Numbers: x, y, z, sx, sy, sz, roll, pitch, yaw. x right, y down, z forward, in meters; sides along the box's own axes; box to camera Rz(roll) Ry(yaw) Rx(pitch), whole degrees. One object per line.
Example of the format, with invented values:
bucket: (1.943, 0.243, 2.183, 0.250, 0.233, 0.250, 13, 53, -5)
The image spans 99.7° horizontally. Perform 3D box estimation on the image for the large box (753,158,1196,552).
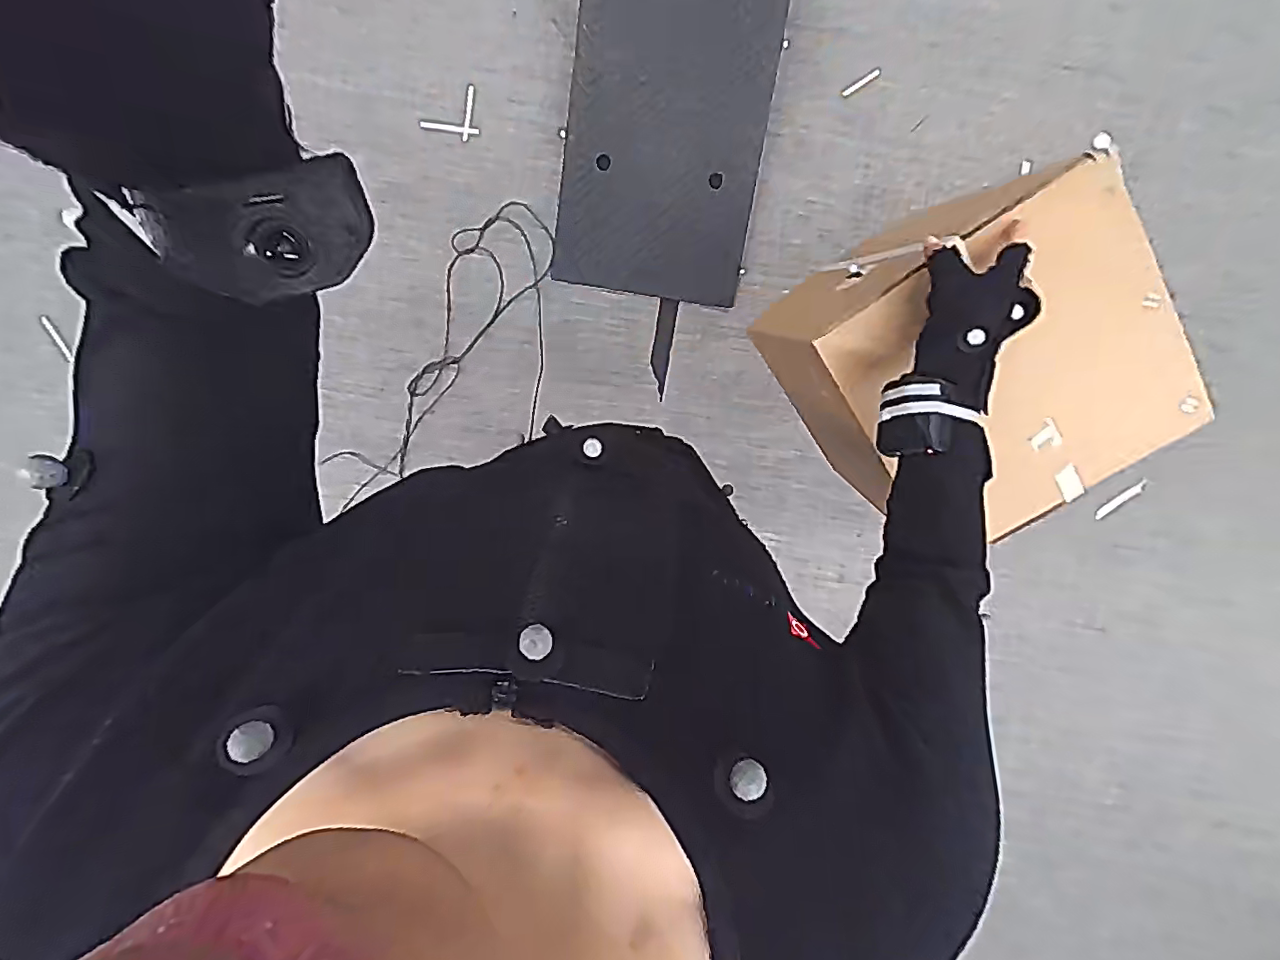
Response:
large box: (0.400, -0.167, 0.754, 0.320, 0.408, 0.320, -32, 106, 12)

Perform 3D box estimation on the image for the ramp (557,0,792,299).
ramp: (0.092, -0.990, 1.315, 0.509, 0.206, 0.991, 7, 95, -1)
